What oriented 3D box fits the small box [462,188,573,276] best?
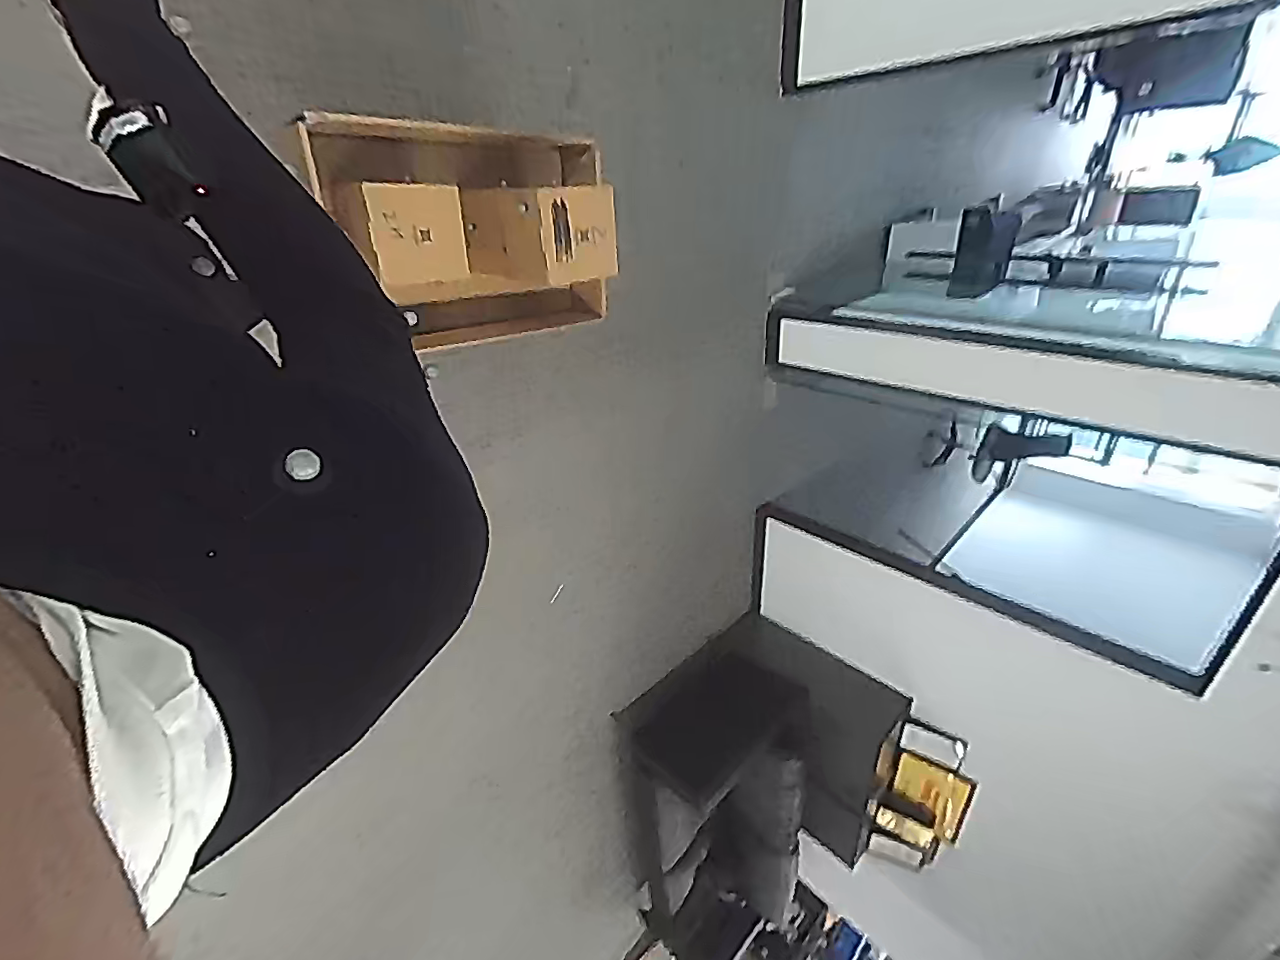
[{"bbox_3d":[-0.271,-0.551,1.194,0.179,0.176,0.168,-23,124,-36],"label":"small box"}]

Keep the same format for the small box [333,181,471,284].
[{"bbox_3d":[-0.452,-0.473,1.033,0.179,0.176,0.168,-23,124,-39],"label":"small box"}]
